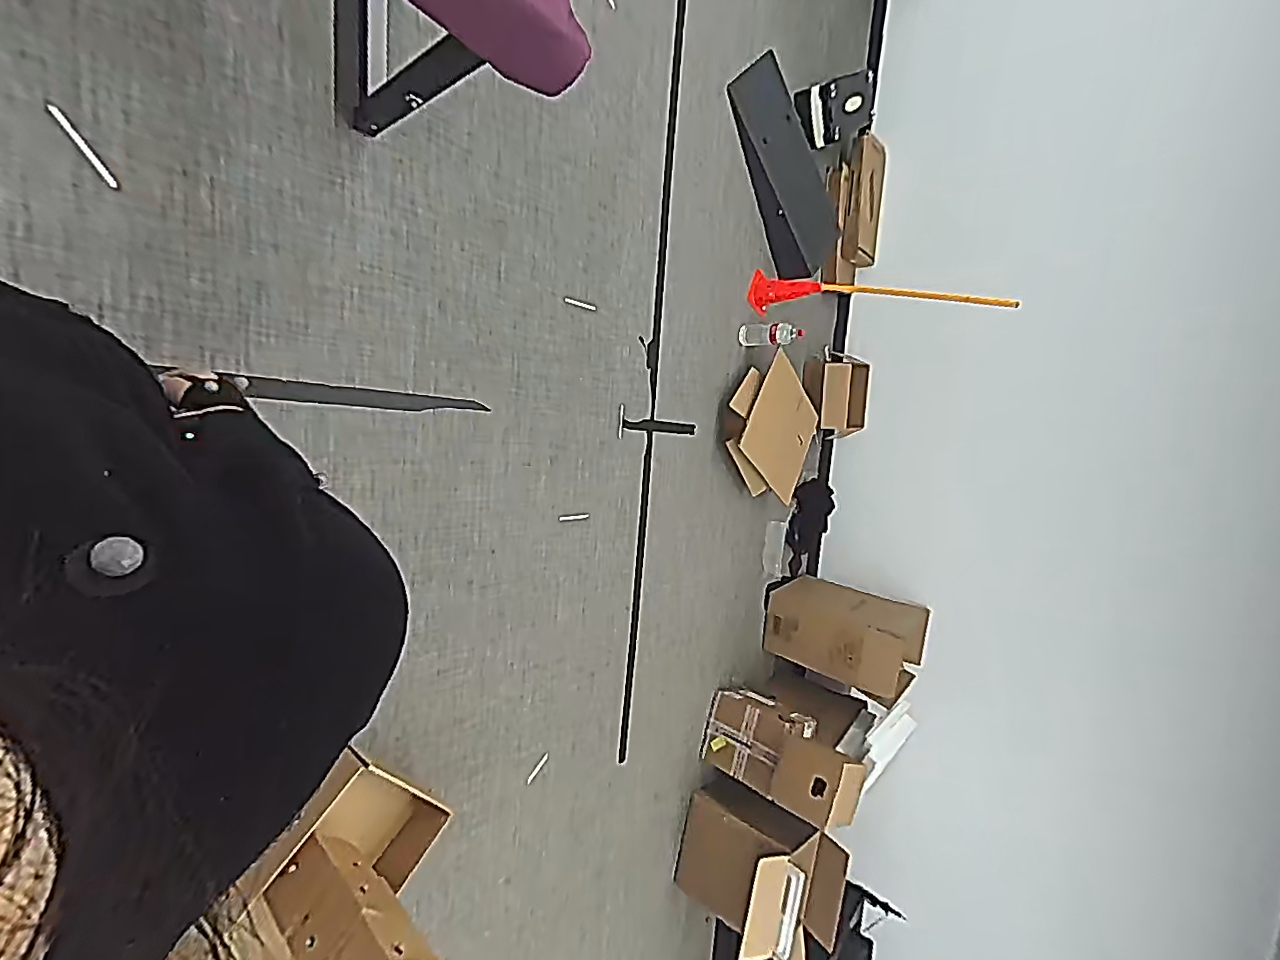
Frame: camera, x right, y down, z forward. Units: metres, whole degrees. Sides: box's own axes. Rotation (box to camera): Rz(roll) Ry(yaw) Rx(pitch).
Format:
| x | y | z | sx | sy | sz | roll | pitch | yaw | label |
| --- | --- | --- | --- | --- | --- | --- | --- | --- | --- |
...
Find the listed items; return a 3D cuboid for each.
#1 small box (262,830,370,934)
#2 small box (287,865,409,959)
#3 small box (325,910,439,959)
| x | y | z | sx | sy | sz | roll | pitch | yaw | label |
| --- | --- | --- | --- | --- | --- | --- | --- | --- | --- |
| -0.847 | 1.071 | 1.431 | 0.168 | 0.176 | 0.179 | -53 | 133 | -28 | small box |
| -0.721 | 1.091 | 1.332 | 0.168 | 0.176 | 0.179 | -56 | 136 | -24 | small box |
| -0.600 | 1.119 | 1.223 | 0.168 | 0.176 | 0.179 | -56 | 134 | -23 | small box |
